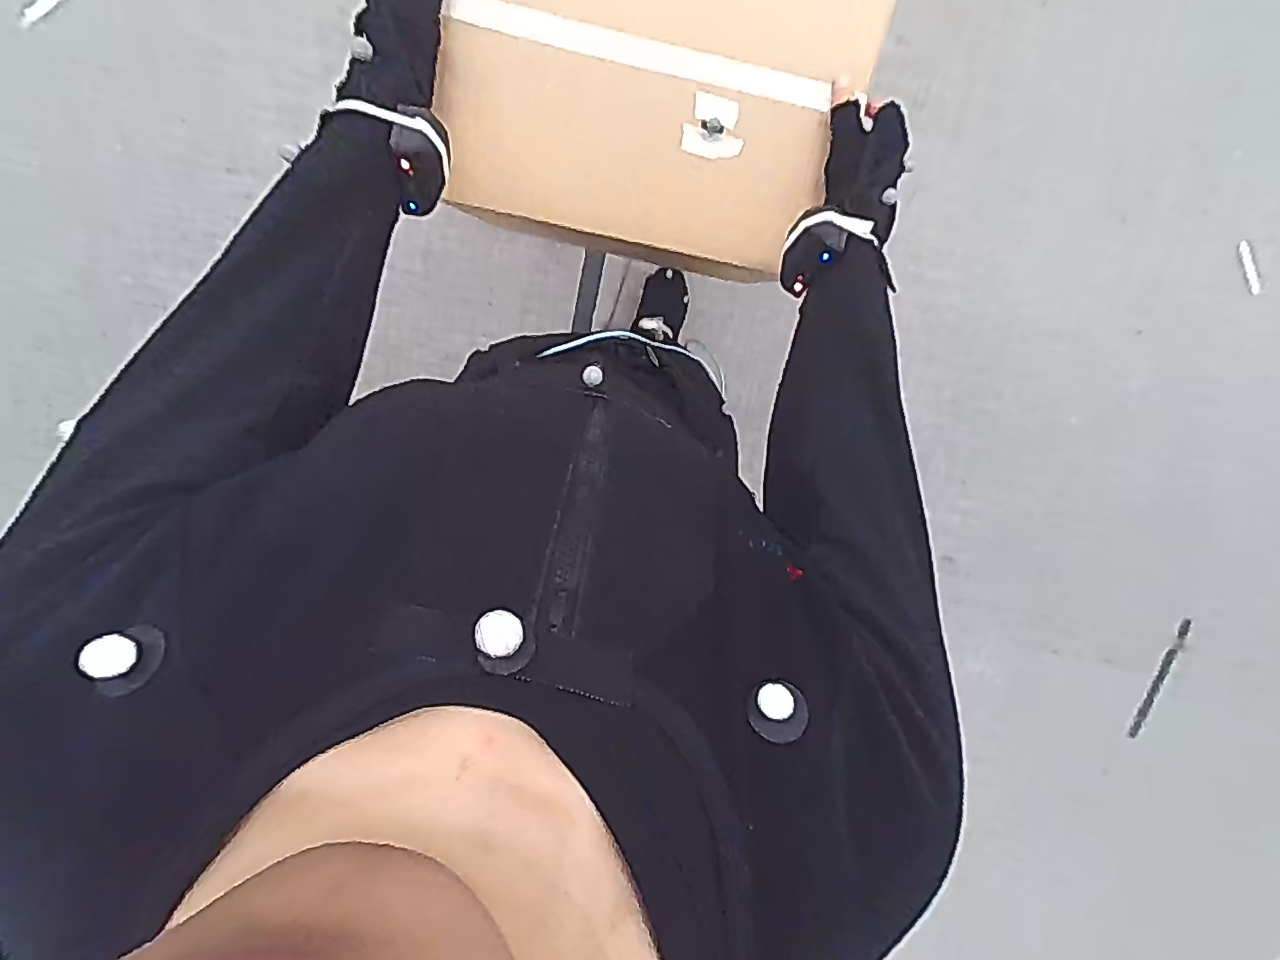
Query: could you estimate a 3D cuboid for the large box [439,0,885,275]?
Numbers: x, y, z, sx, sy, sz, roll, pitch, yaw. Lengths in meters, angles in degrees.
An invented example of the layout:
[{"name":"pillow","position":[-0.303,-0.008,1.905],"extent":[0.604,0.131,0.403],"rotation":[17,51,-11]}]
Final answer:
[{"name":"large box","position":[0.011,-0.448,0.652],"extent":[0.408,0.320,0.320],"rotation":[10,110,-6]}]
